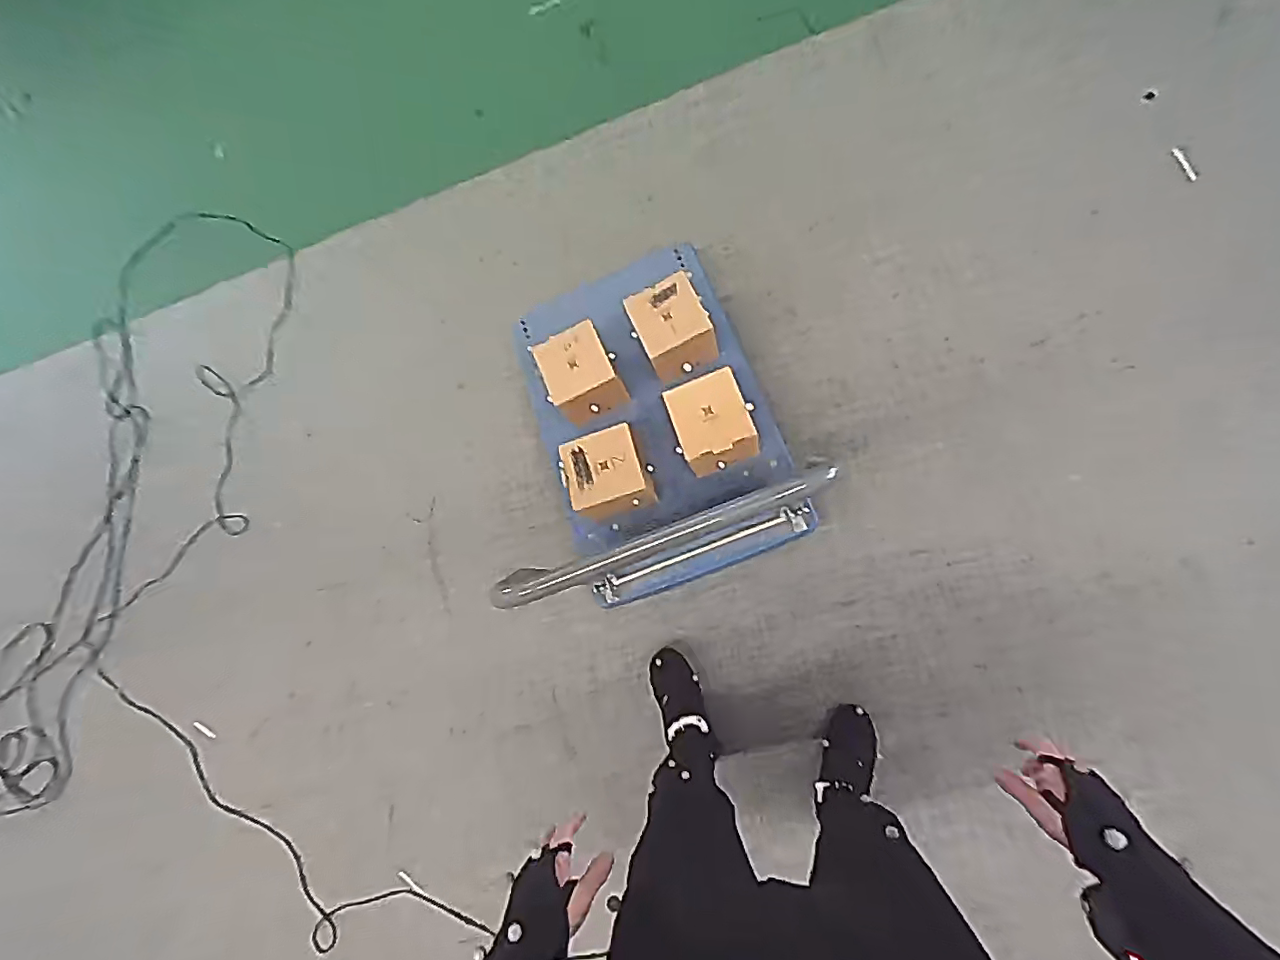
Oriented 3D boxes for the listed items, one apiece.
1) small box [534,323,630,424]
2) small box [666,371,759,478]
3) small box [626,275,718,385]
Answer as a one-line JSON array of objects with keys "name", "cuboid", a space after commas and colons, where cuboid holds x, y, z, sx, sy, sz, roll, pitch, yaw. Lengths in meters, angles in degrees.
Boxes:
[{"name": "small box", "cuboid": [-0.142, -0.259, 1.384, 0.168, 0.176, 0.179, -25, 73, 6]}, {"name": "small box", "cuboid": [0.173, -0.124, 1.280, 0.168, 0.176, 0.179, -21, 74, 7]}, {"name": "small box", "cuboid": [0.085, -0.369, 1.355, 0.168, 0.176, 0.179, -26, 74, 7]}]
